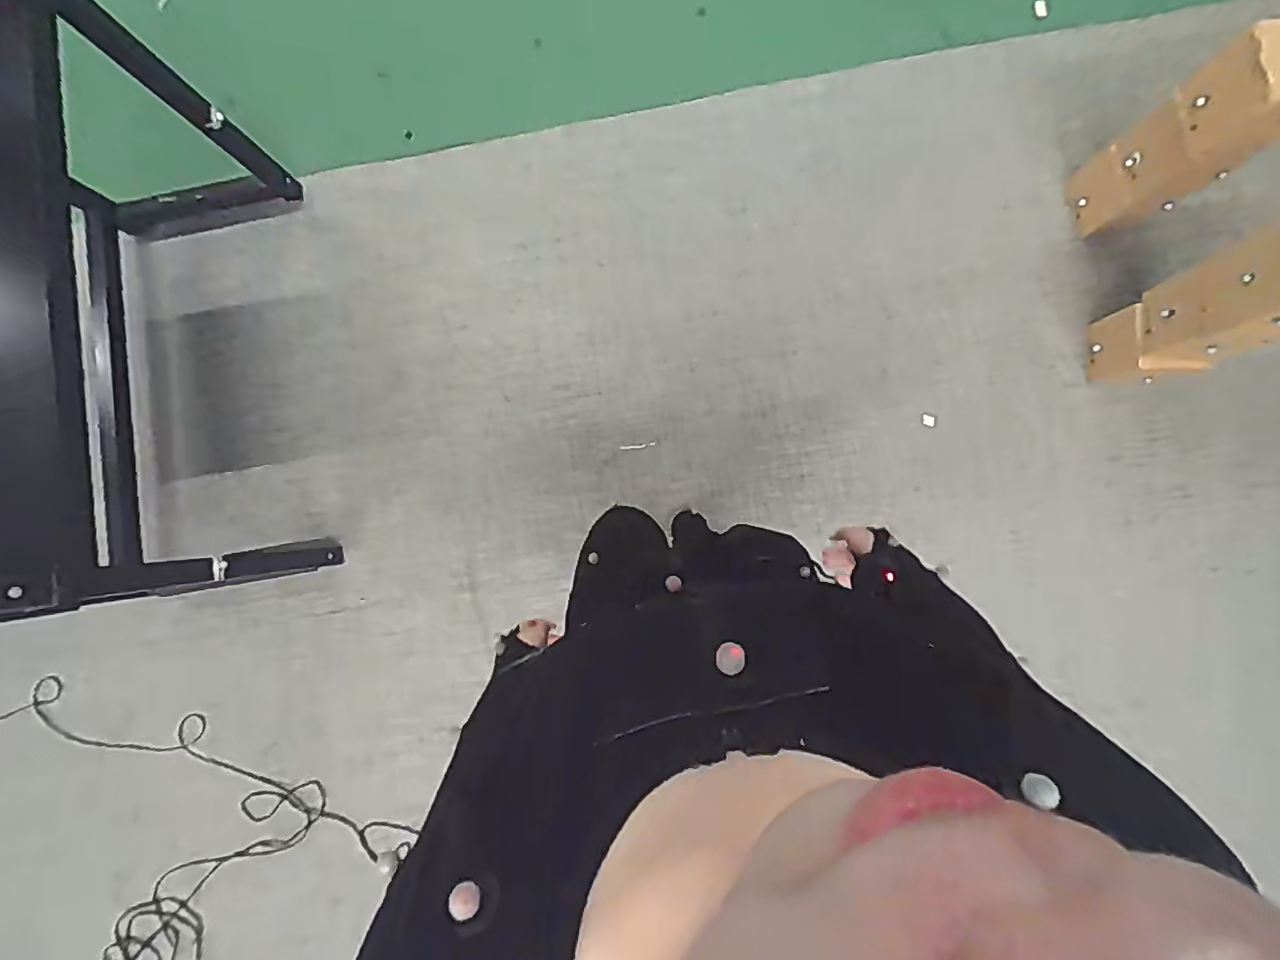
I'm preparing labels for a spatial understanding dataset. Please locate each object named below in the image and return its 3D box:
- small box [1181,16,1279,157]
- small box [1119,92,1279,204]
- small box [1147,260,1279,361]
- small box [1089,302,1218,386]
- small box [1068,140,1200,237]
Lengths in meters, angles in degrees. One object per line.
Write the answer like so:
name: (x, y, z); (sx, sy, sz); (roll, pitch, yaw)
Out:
small box: (1.263, -0.786, 1.085); (0.179, 0.176, 0.168); (-6, 85, 3)
small box: (1.276, -0.774, 1.247); (0.179, 0.176, 0.168); (-13, 84, 3)
small box: (1.296, -0.373, 1.214); (0.179, 0.176, 0.168); (5, 86, 5)
small box: (1.297, -0.341, 1.375); (0.179, 0.176, 0.168); (1, 86, 4)
small box: (1.280, -0.767, 1.408); (0.179, 0.176, 0.168); (-13, 85, 2)
